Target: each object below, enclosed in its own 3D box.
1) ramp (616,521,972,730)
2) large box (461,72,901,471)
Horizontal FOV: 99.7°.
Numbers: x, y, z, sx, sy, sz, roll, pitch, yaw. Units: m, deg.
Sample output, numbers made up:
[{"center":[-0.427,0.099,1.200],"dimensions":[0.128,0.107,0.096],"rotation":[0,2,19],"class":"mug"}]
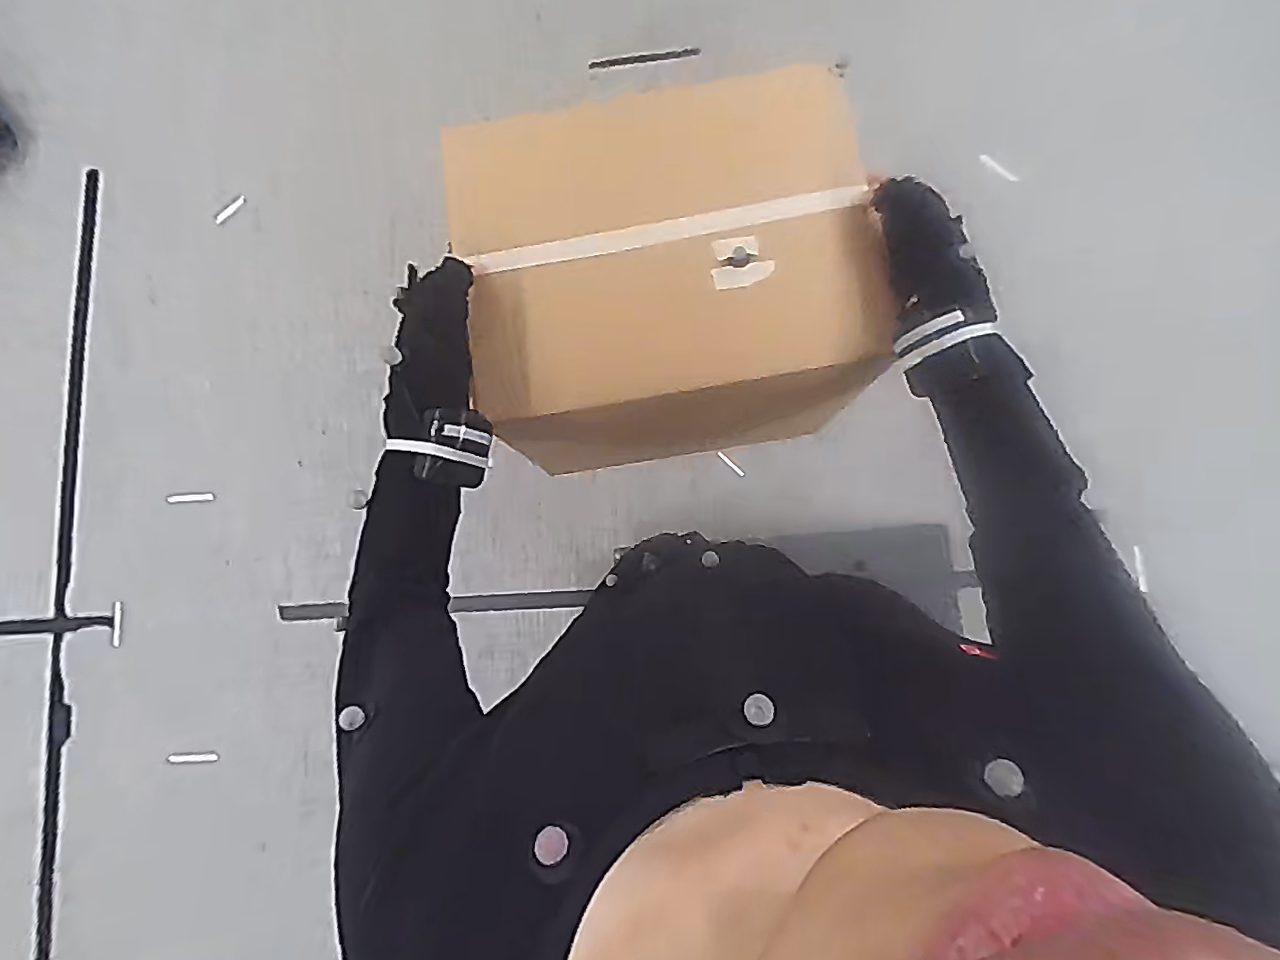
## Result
[{"center":[0.441,0.389,1.526],"dimensions":[0.991,0.206,0.509],"rotation":[-7,81,2],"class":"ramp"},{"center":[0.035,-0.217,0.683],"dimensions":[0.408,0.320,0.320],"rotation":[-9,81,2],"class":"large box"}]
